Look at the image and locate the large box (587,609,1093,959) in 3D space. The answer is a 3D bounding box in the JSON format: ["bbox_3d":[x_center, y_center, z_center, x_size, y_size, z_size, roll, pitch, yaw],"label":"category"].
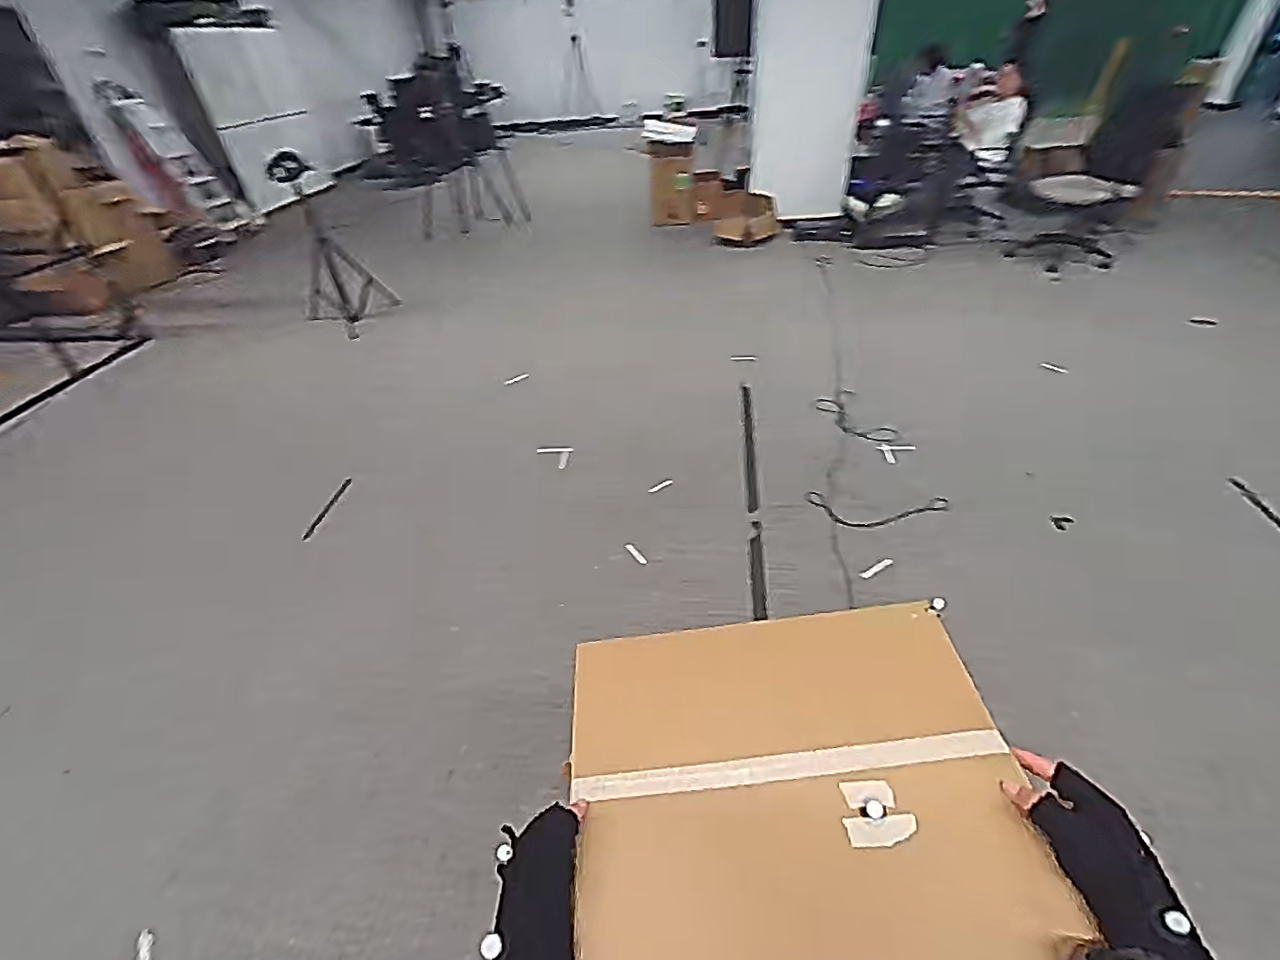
[{"bbox_3d":[0.161,0.387,0.629,0.408,0.320,0.320,-7,44,3],"label":"large box"}]
